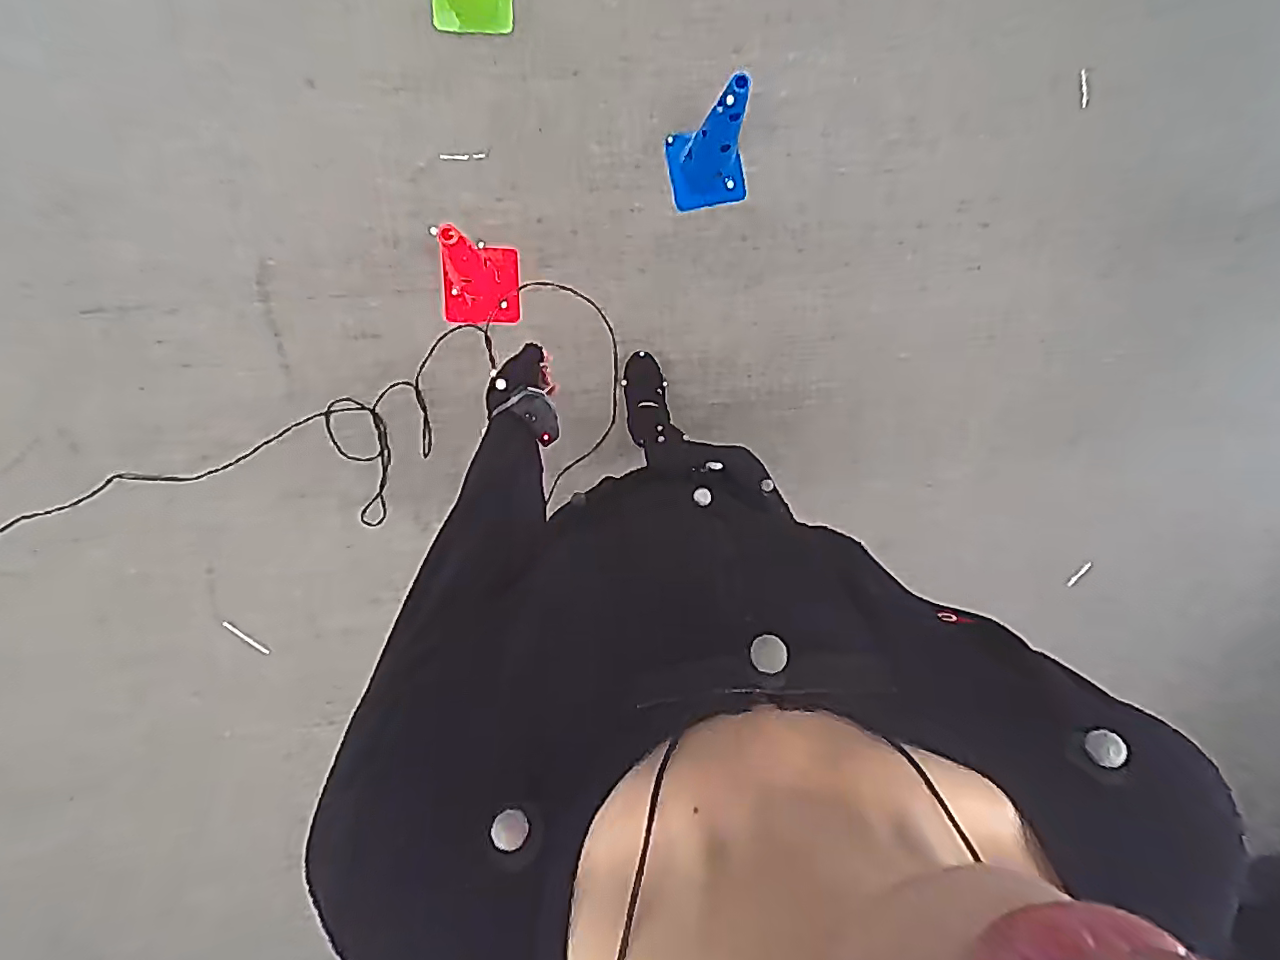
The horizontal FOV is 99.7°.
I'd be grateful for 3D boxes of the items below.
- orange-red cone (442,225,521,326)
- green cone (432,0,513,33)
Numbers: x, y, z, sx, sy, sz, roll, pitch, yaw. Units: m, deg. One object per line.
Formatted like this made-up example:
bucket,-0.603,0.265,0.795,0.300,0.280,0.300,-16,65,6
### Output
orange-red cone,-0.397,-0.501,1.251,0.198,0.360,0.199,0,92,-6
green cone,-0.415,-1.231,1.201,0.200,0.368,0.202,-3,95,-4
